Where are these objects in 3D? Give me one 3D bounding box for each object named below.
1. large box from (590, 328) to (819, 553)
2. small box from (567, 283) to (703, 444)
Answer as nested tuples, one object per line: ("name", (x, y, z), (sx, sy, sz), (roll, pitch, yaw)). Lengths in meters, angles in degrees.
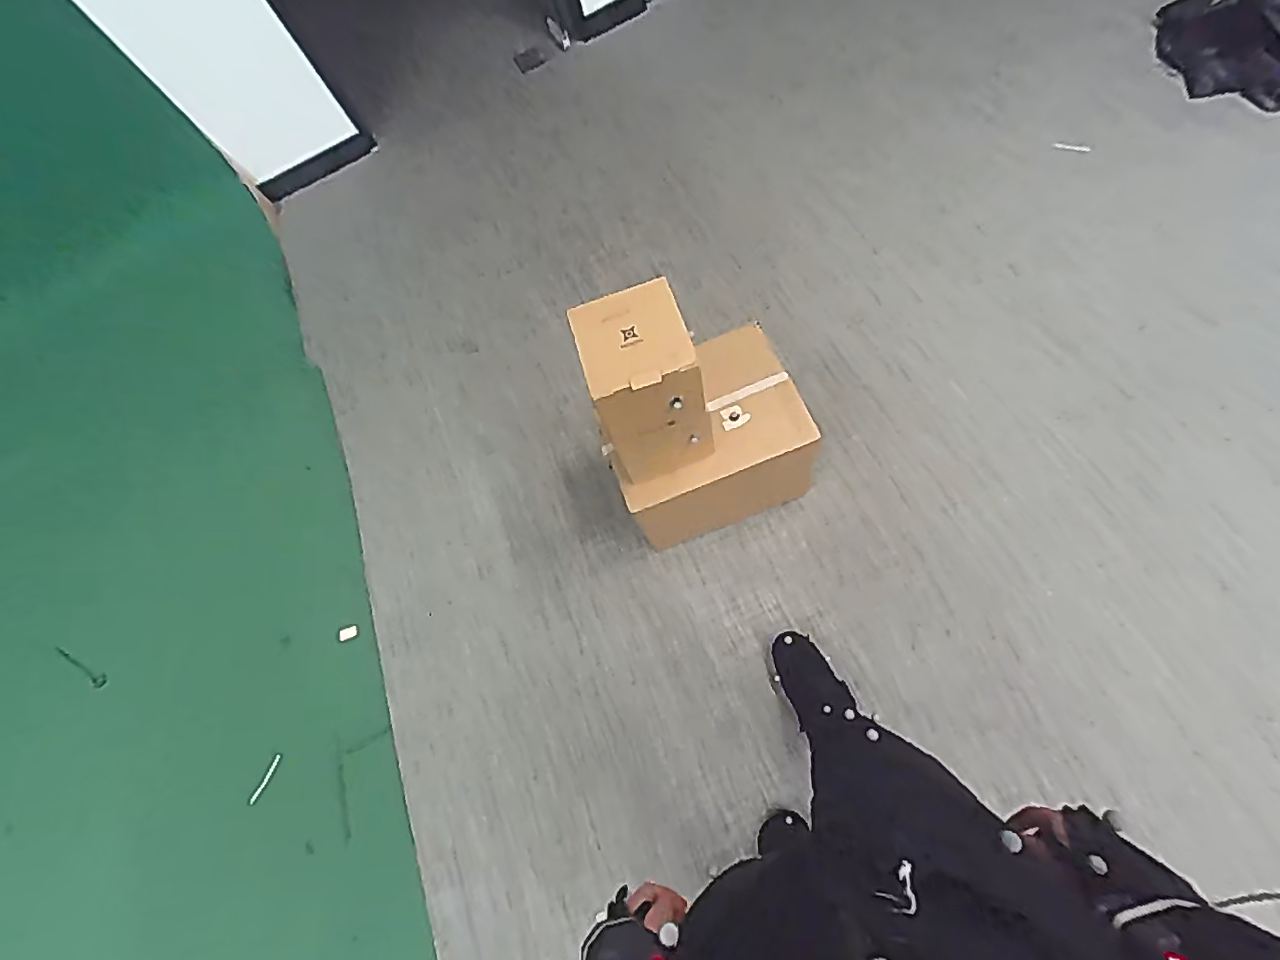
("large box", (0.145, -0.073, 1.253), (0.408, 0.320, 0.320), (-22, 66, 1))
("small box", (-0.001, -0.176, 0.877), (0.168, 0.176, 0.179), (-18, 65, 1))
